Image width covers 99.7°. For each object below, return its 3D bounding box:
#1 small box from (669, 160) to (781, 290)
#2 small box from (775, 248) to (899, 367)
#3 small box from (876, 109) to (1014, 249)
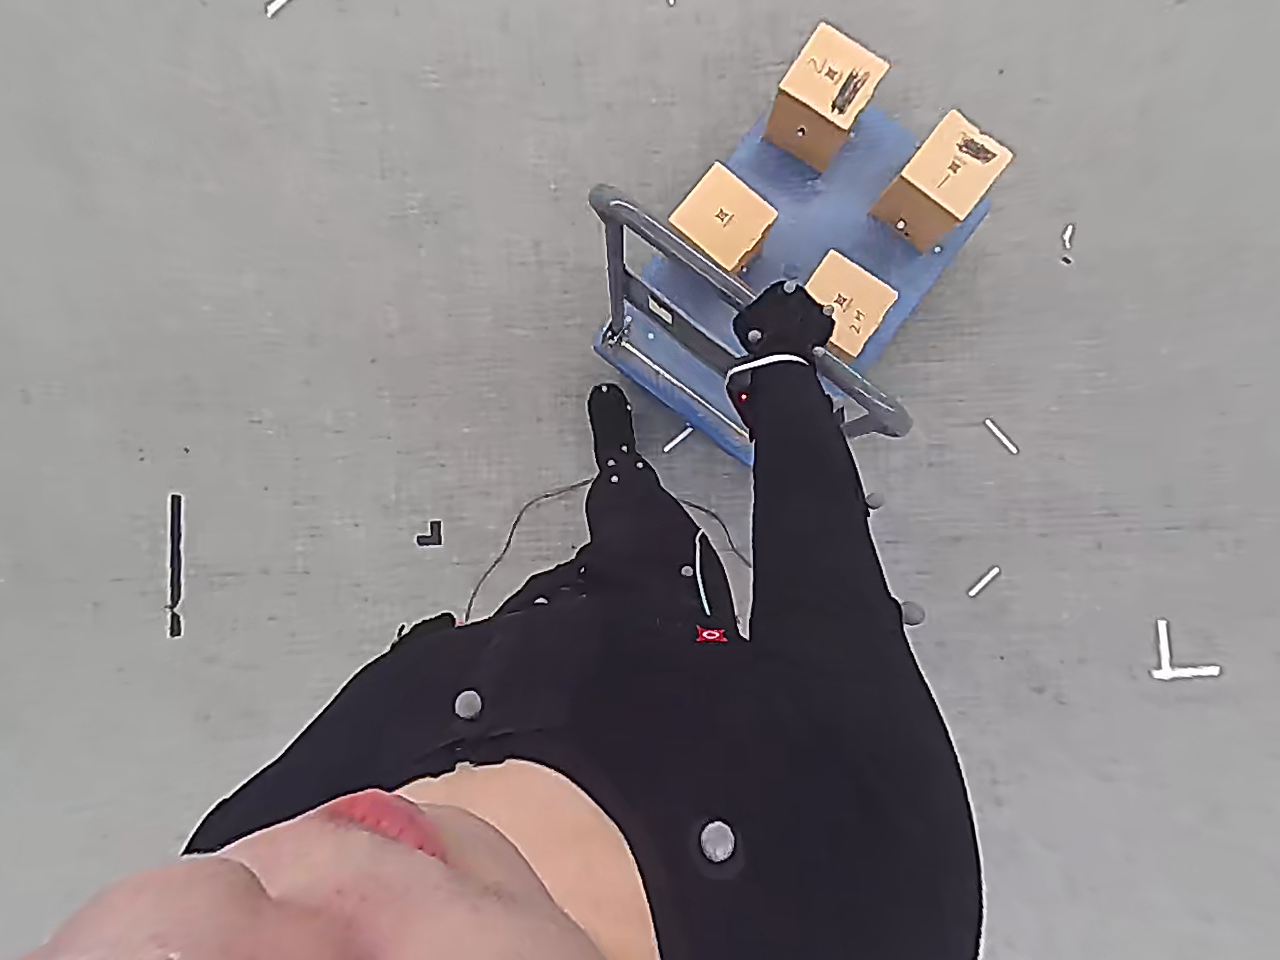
[{"bbox_3d":[0.180,-0.561,1.219,0.179,0.176,0.168,40,90,-1],"label":"small box"},{"bbox_3d":[0.429,-0.375,1.213,0.179,0.176,0.168,35,91,1],"label":"small box"},{"bbox_3d":[0.667,-0.661,1.207,0.168,0.176,0.179,38,92,1],"label":"small box"}]
